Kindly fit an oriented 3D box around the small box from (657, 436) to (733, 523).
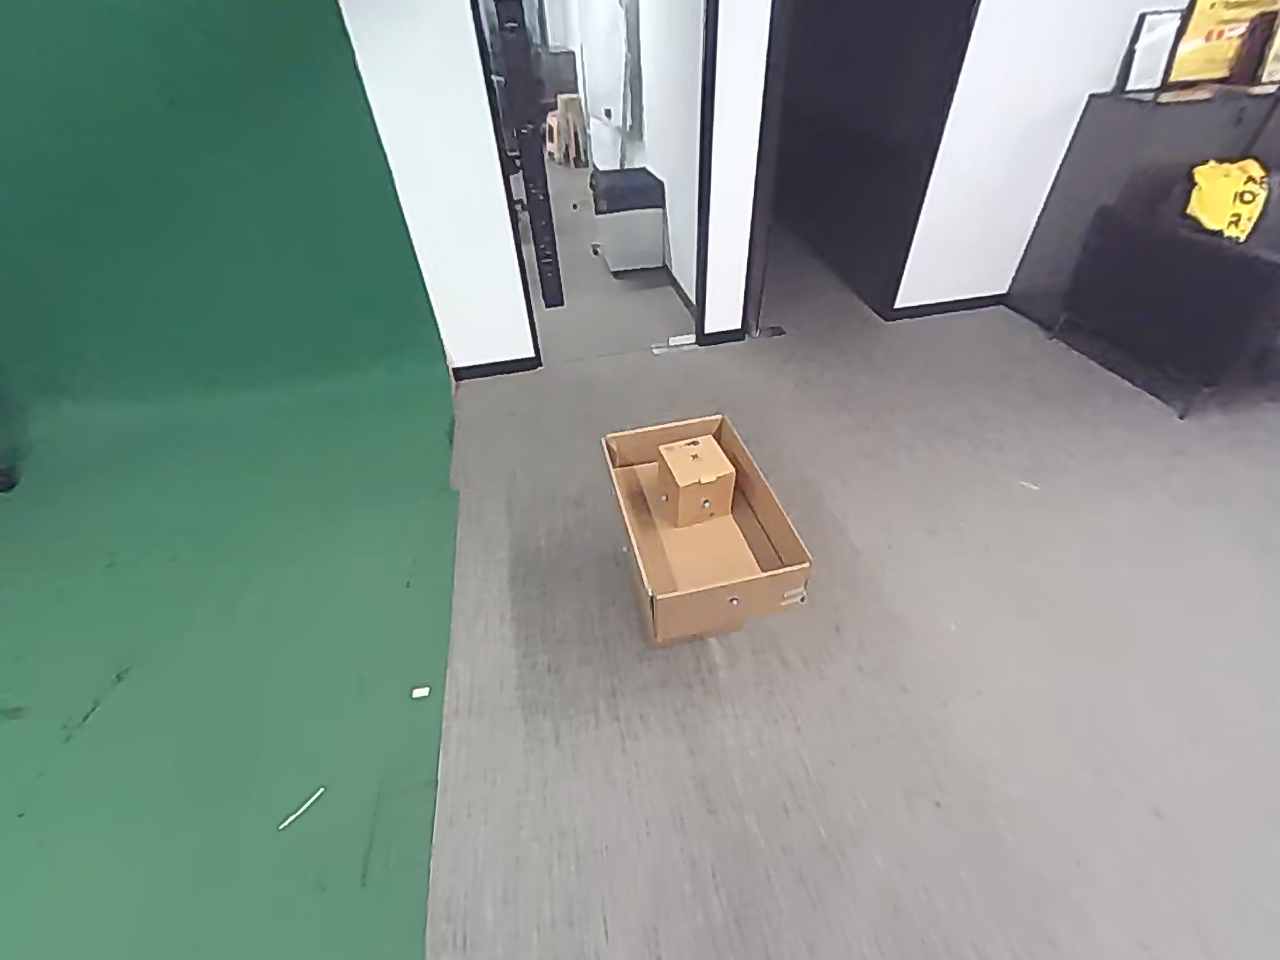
[{"bbox_3d":[0.152,0.006,1.542,0.168,0.176,0.179,-12,45,-12],"label":"small box"}]
